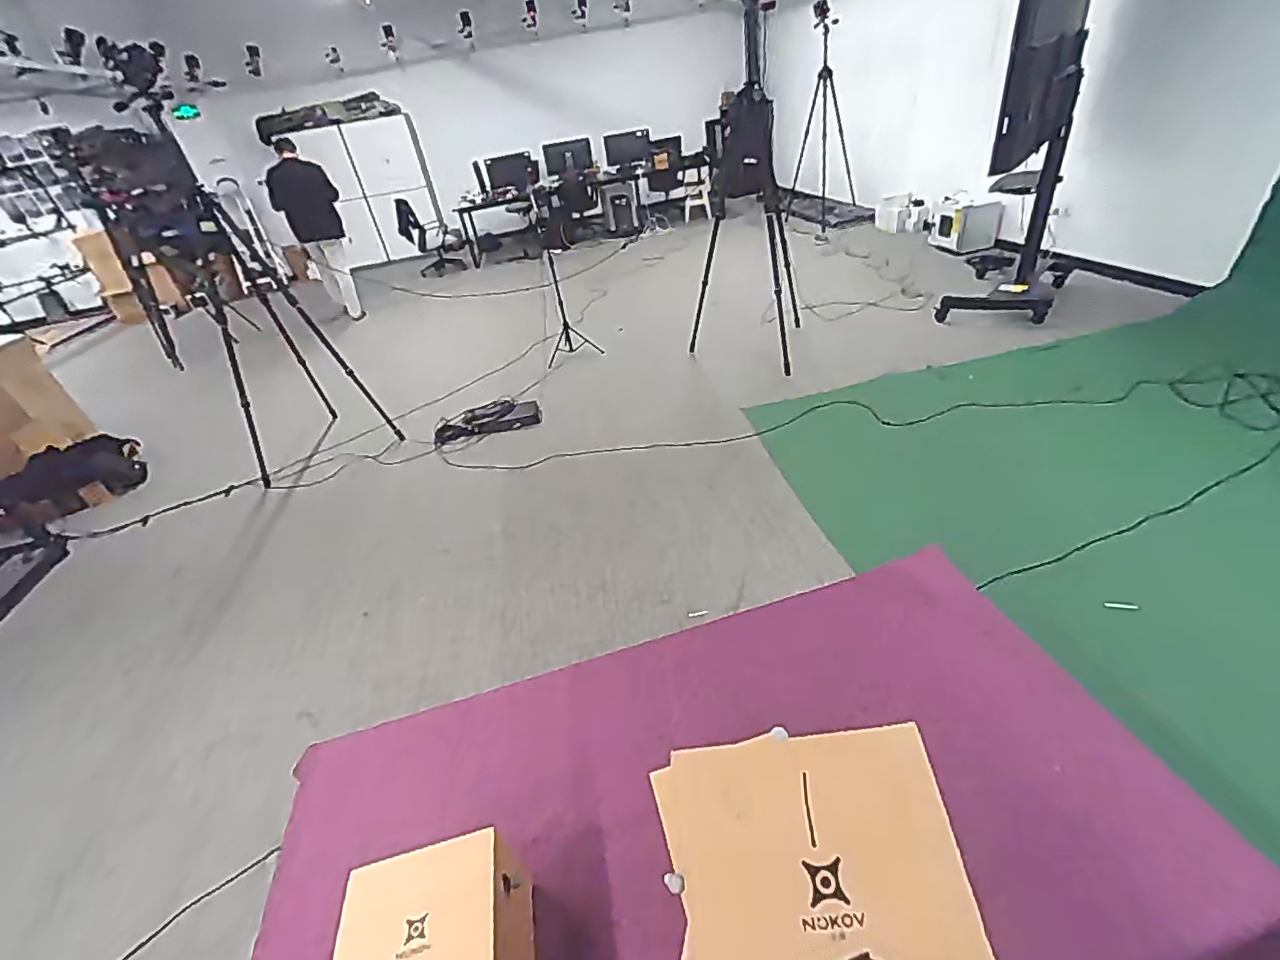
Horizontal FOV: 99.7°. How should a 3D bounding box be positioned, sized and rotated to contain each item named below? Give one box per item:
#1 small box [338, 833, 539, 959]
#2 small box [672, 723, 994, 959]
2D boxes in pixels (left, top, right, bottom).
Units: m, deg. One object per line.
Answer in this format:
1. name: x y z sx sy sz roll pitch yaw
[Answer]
1. small box: -0.212 0.536 0.589 0.168 0.176 0.179 -15 34 -6
2. small box: 0.119 0.285 0.383 0.168 0.176 0.179 -8 57 2
